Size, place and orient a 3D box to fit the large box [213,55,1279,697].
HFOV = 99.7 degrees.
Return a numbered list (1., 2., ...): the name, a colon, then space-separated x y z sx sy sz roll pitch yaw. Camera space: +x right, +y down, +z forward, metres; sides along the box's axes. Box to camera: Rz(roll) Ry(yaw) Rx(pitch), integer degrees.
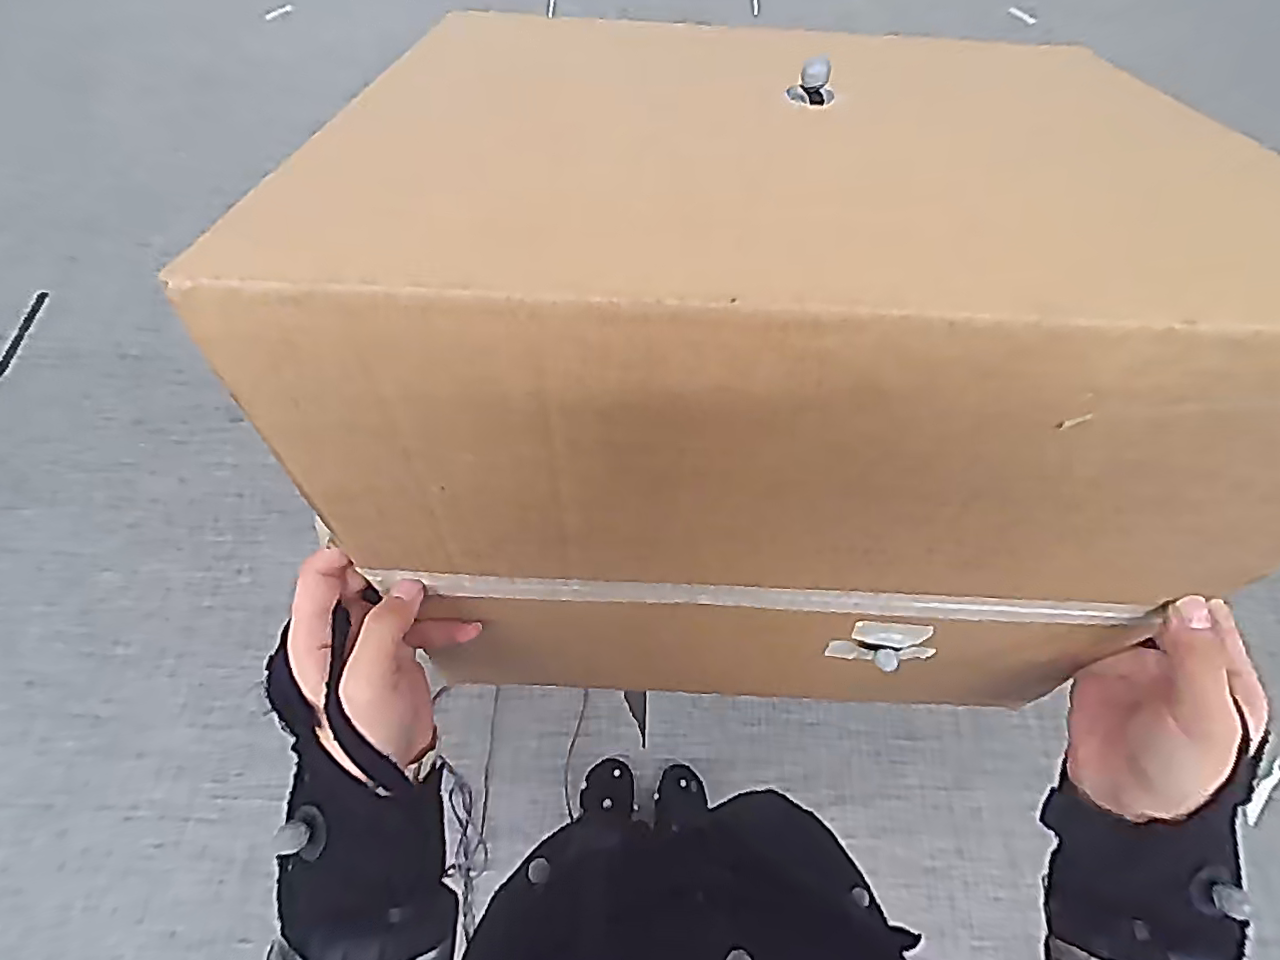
1. large box: 0.067 -0.061 0.368 0.408 0.320 0.320 2 52 0
